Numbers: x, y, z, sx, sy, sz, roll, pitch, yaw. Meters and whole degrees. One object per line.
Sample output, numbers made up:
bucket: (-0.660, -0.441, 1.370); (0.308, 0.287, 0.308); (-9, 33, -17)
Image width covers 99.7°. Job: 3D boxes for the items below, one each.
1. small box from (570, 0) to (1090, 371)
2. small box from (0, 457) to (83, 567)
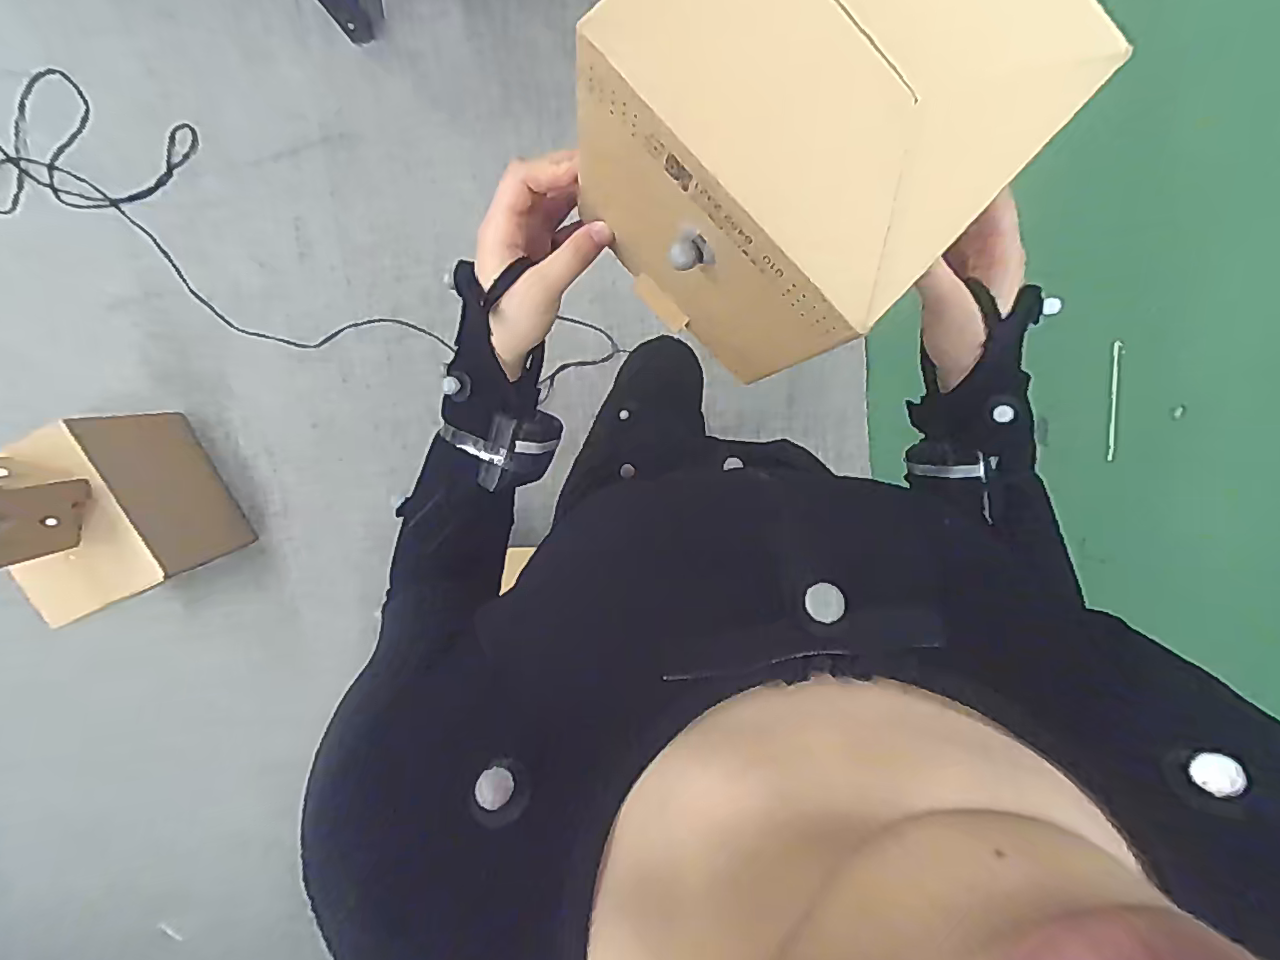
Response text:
small box: (0.079, -0.186, 0.297); (0.168, 0.176, 0.179); (44, 88, -6)
small box: (-1.304, 0.057, 1.100); (0.179, 0.176, 0.168); (15, 99, -5)
